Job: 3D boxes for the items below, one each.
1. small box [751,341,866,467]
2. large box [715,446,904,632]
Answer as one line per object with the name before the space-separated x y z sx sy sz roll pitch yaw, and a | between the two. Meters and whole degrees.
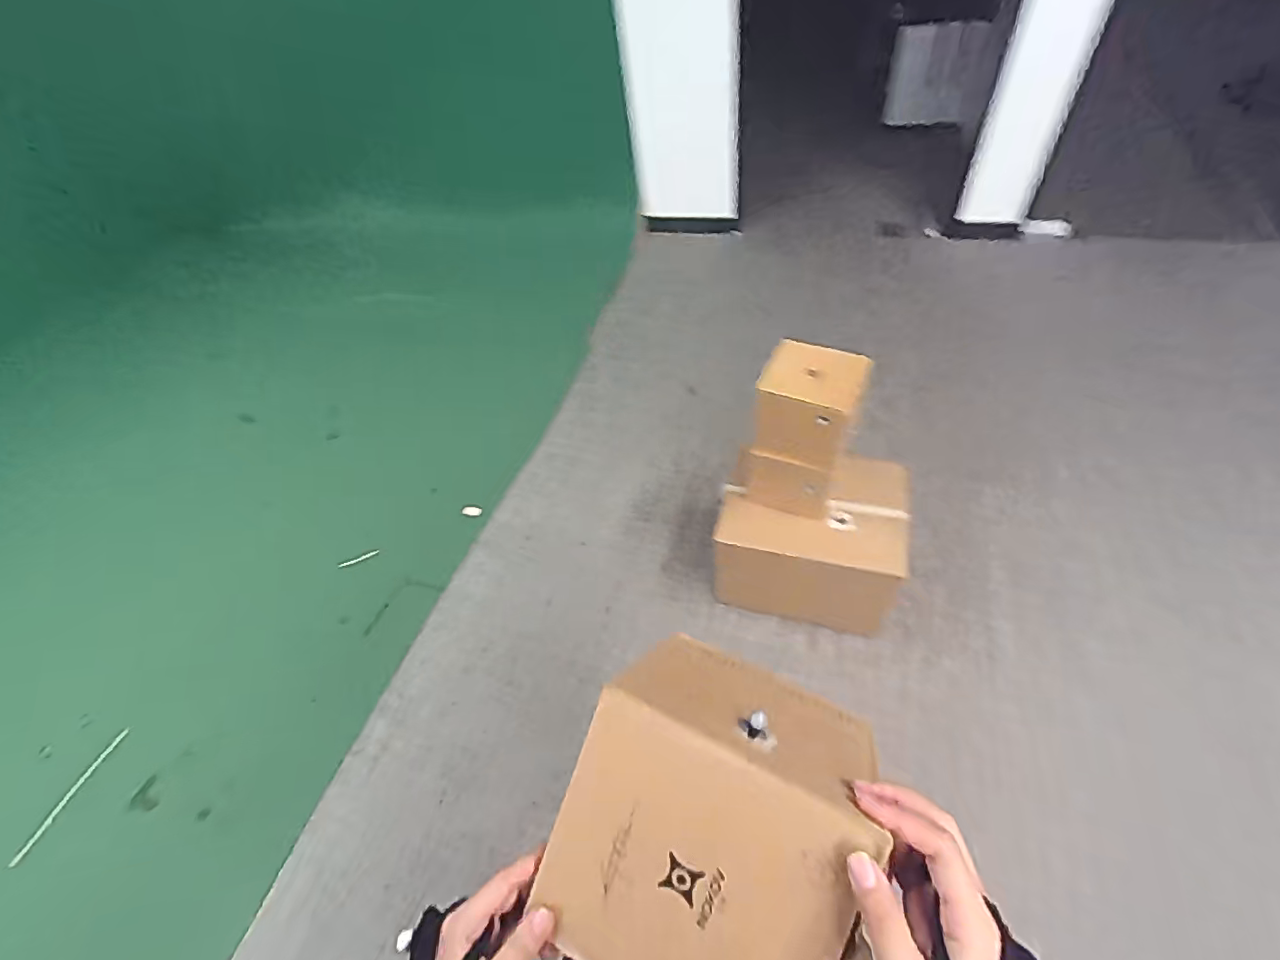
small box | 0.334 -0.152 1.097 0.179 0.176 0.168 19 56 22
large box | 0.413 0.147 1.369 0.408 0.320 0.320 9 54 15
